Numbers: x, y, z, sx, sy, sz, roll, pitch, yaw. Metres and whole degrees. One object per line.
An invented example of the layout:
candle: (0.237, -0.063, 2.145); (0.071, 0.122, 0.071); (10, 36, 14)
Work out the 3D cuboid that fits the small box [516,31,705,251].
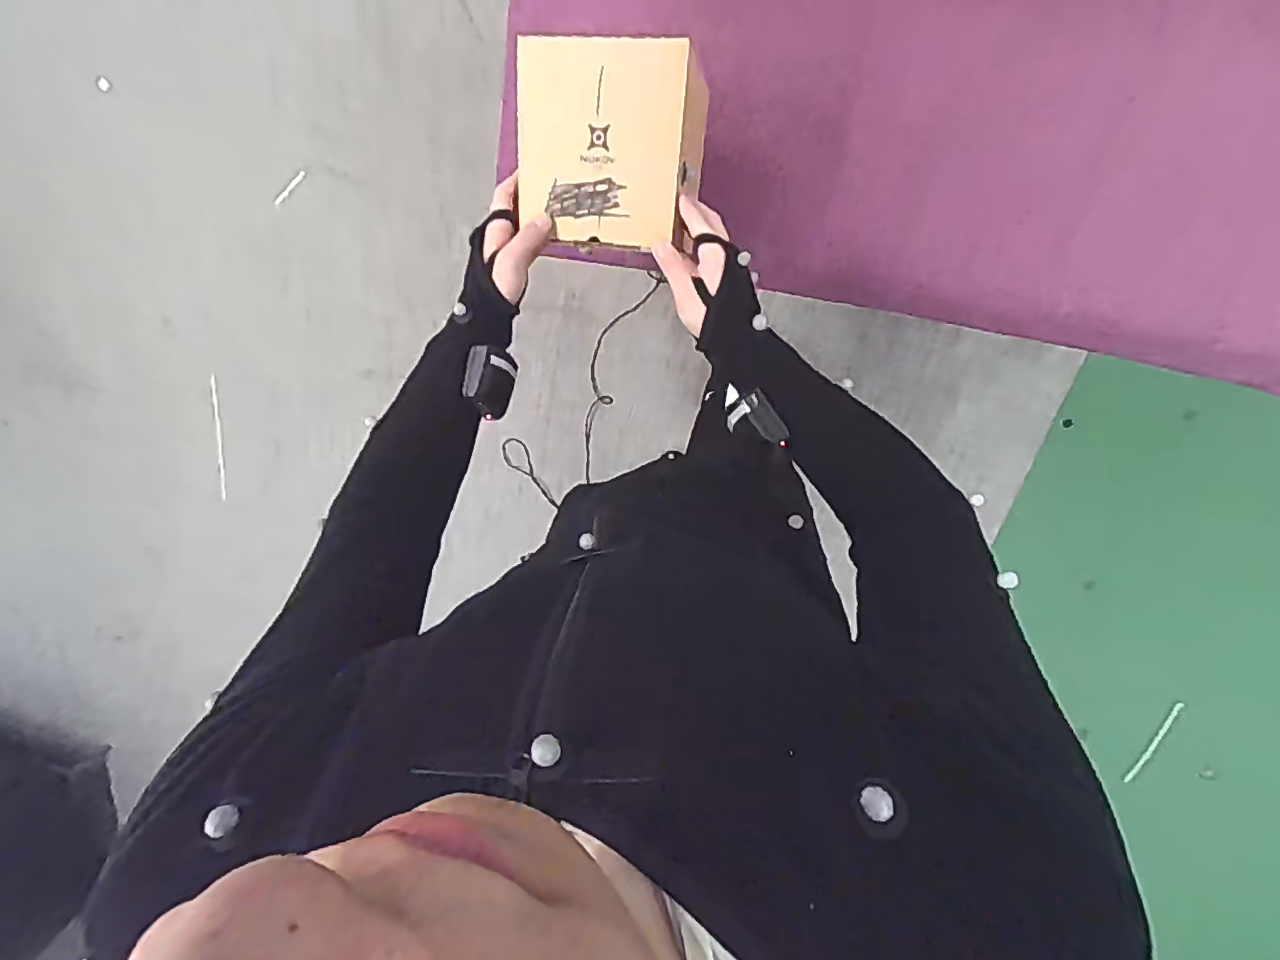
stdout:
small box: (-0.025, -0.352, 0.592); (0.168, 0.176, 0.179); (9, 113, 9)
